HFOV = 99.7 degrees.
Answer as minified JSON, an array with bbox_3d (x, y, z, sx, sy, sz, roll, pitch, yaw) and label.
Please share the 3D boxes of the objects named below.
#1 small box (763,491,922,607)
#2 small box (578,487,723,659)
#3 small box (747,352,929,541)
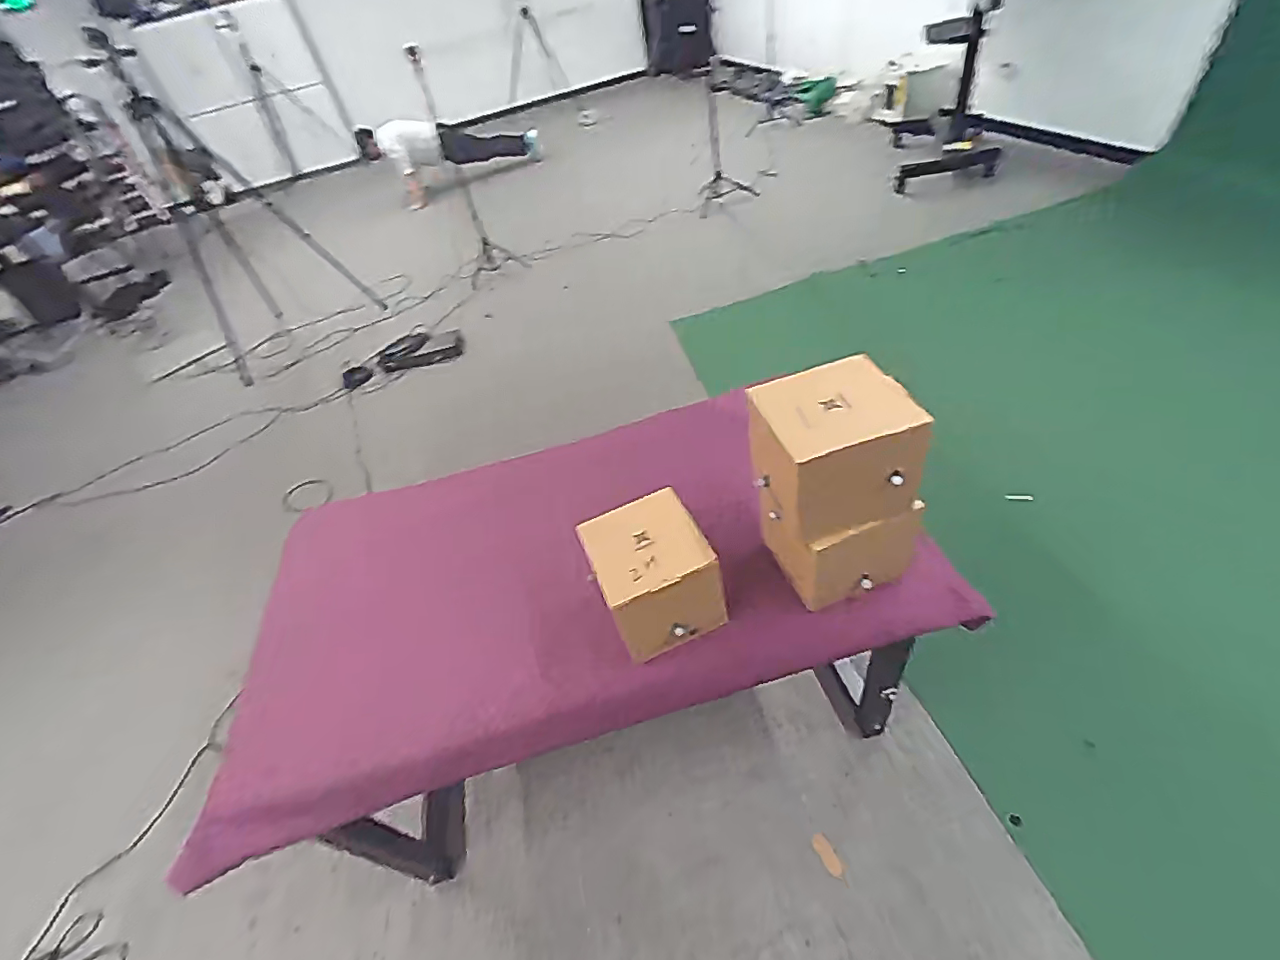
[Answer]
[{"bbox_3d":[0.305,0.070,0.859,0.179,0.176,0.168,-21,44,-6],"label":"small box"},{"bbox_3d":[0.018,0.148,0.862,0.168,0.176,0.179,-23,44,-7],"label":"small box"},{"bbox_3d":[0.260,-0.044,0.751,0.179,0.176,0.168,-18,44,-1],"label":"small box"}]
